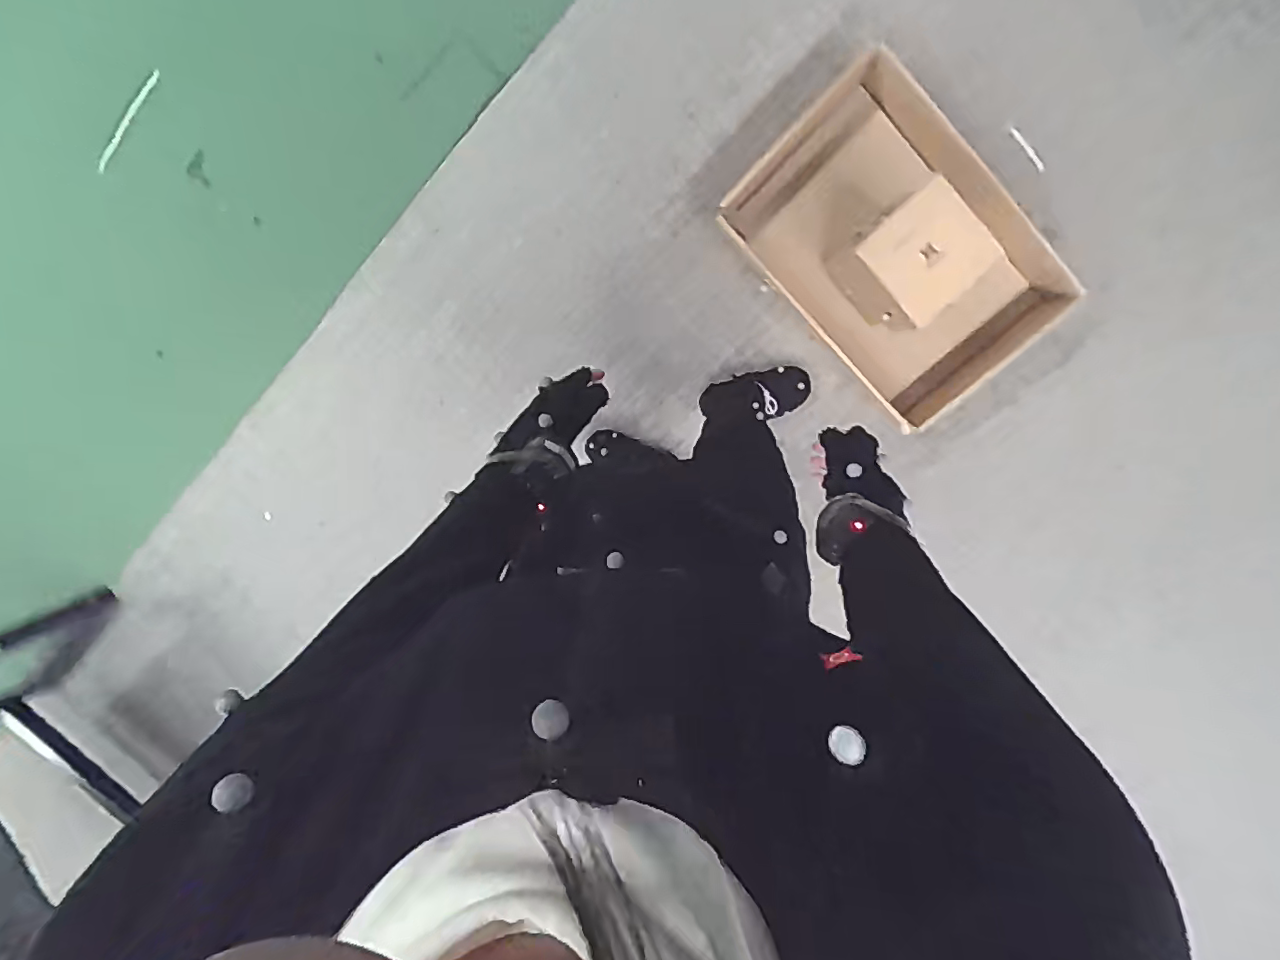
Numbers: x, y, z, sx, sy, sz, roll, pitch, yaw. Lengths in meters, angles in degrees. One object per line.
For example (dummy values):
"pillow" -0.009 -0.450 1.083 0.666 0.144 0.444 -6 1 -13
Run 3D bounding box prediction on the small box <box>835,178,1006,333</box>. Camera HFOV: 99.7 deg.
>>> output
"small box" 0.474 -0.379 0.942 0.179 0.176 0.168 43 106 -5

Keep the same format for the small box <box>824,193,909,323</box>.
"small box" 0.507 -0.440 1.110 0.179 0.176 0.168 45 105 -5
